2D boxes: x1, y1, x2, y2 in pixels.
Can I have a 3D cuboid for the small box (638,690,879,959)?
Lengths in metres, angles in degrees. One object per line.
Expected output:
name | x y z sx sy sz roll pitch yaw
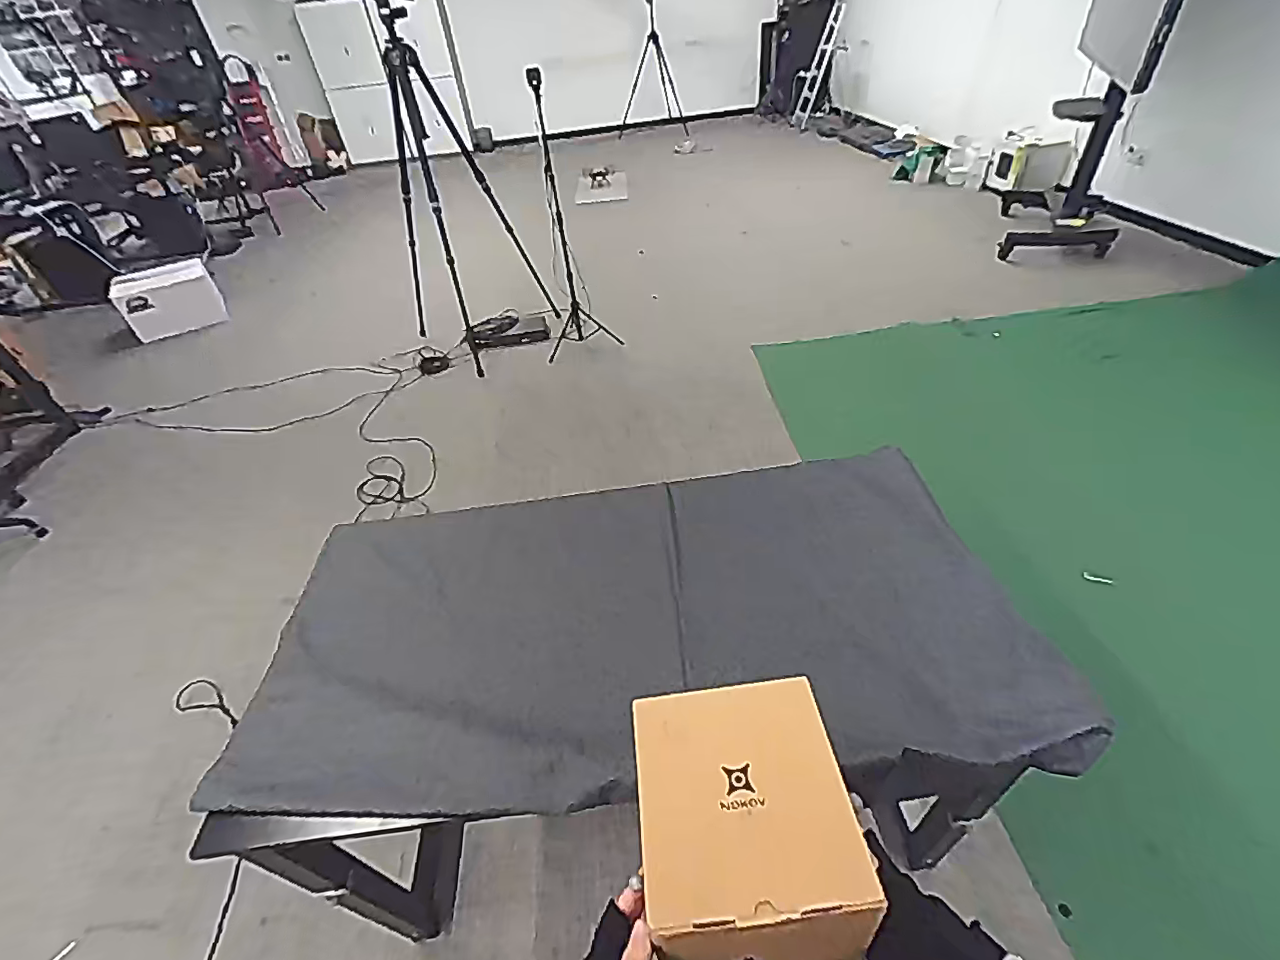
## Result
small box | 0.090 0.322 0.492 0.168 0.176 0.179 -8 38 1
